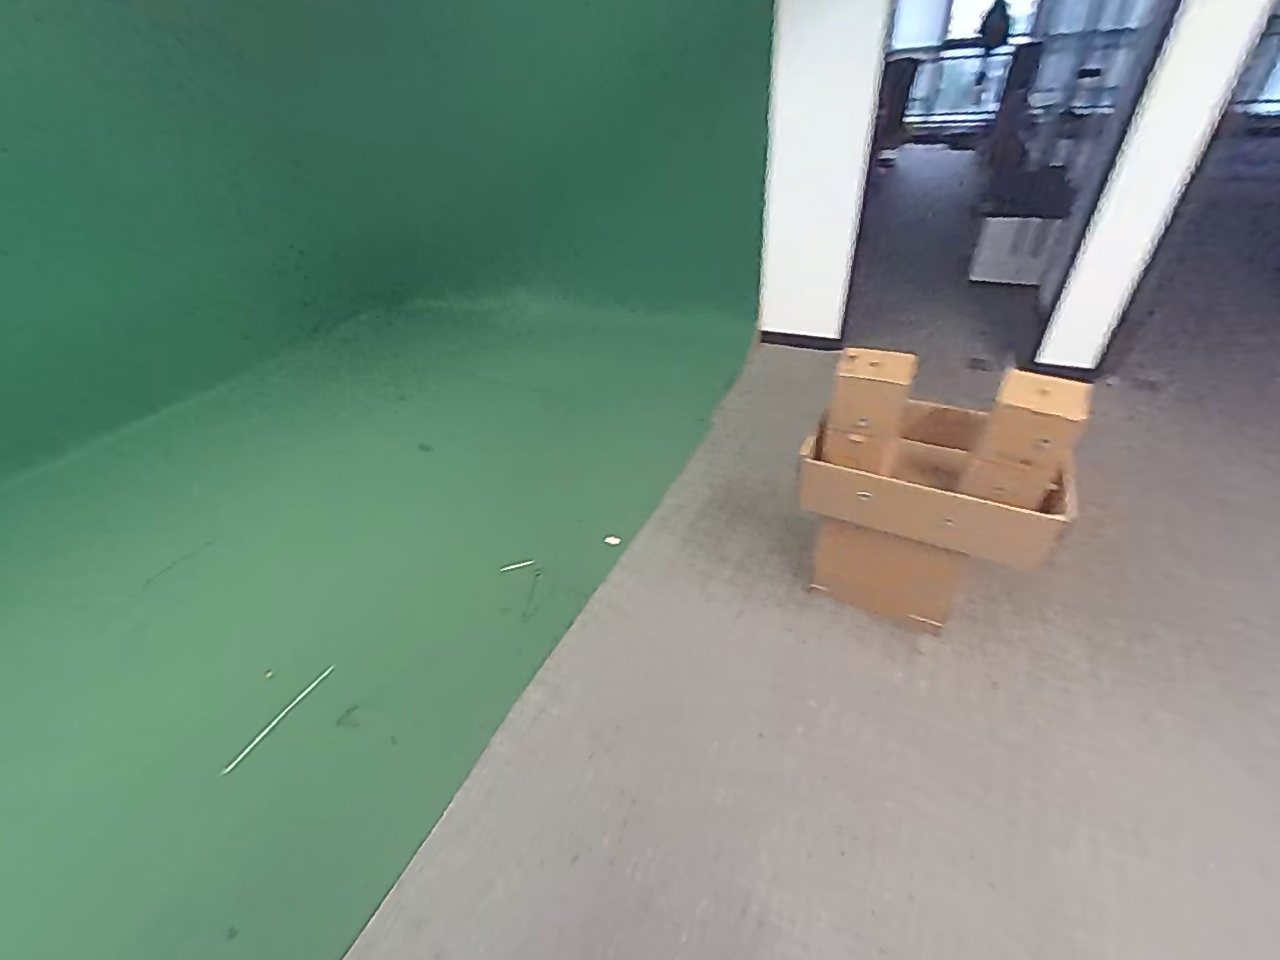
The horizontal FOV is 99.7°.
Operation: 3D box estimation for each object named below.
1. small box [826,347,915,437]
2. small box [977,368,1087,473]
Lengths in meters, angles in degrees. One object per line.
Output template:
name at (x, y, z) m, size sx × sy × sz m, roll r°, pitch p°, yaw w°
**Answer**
small box at (0.618, -0.236, 1.457) m, size 0.179 × 0.176 × 0.168 m, roll 15°, pitch 44°, yaw 24°
small box at (0.935, -0.143, 1.297) m, size 0.168 × 0.176 × 0.179 m, roll 21°, pitch 46°, yaw 28°
